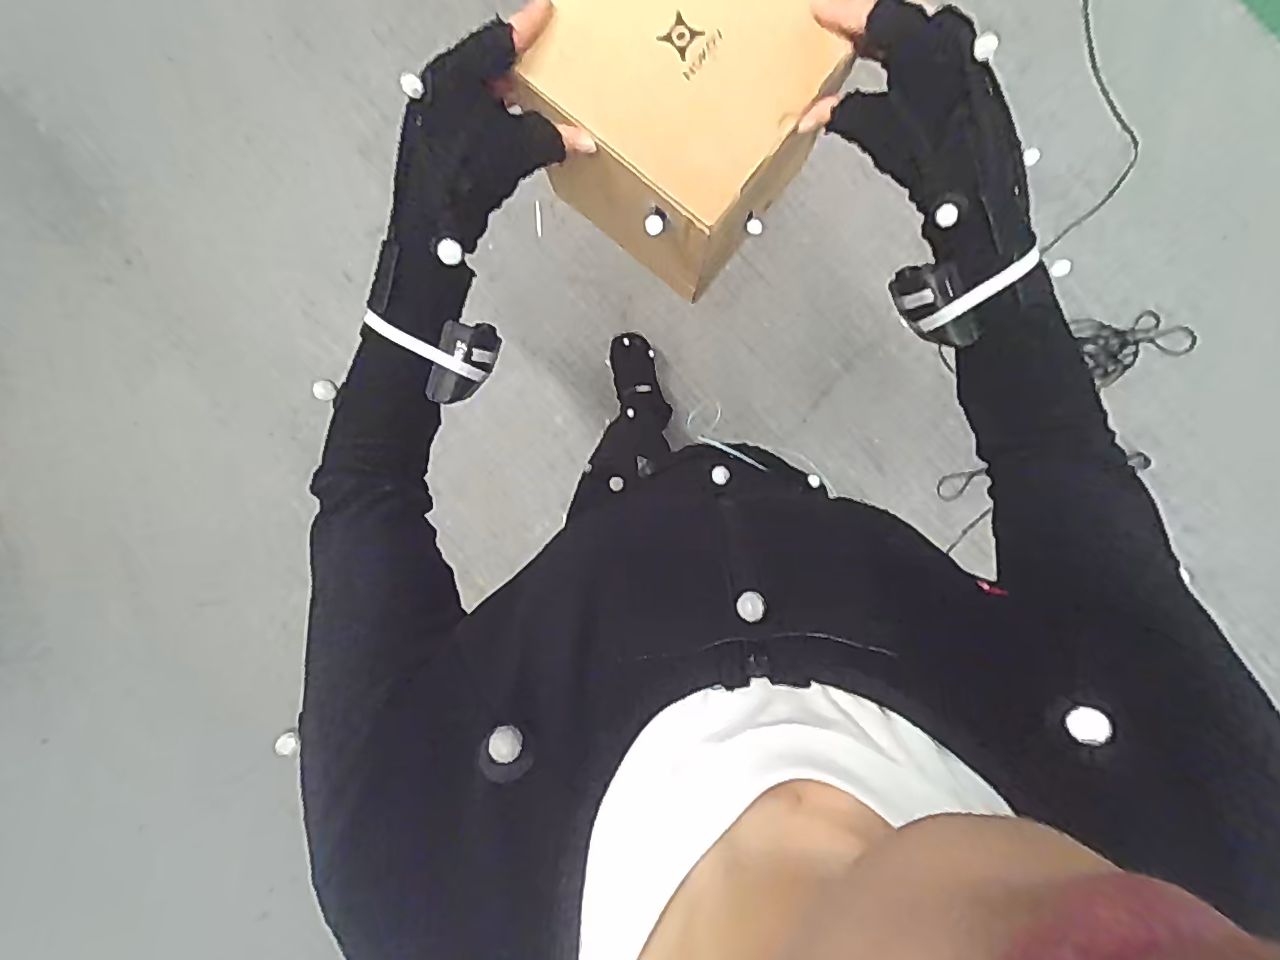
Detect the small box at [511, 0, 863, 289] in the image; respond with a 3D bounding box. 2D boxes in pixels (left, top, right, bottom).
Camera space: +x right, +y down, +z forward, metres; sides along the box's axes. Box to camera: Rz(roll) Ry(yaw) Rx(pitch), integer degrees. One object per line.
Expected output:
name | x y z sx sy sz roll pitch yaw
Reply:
small box | 0.031 -0.285 0.435 0.179 0.176 0.168 39 92 0
